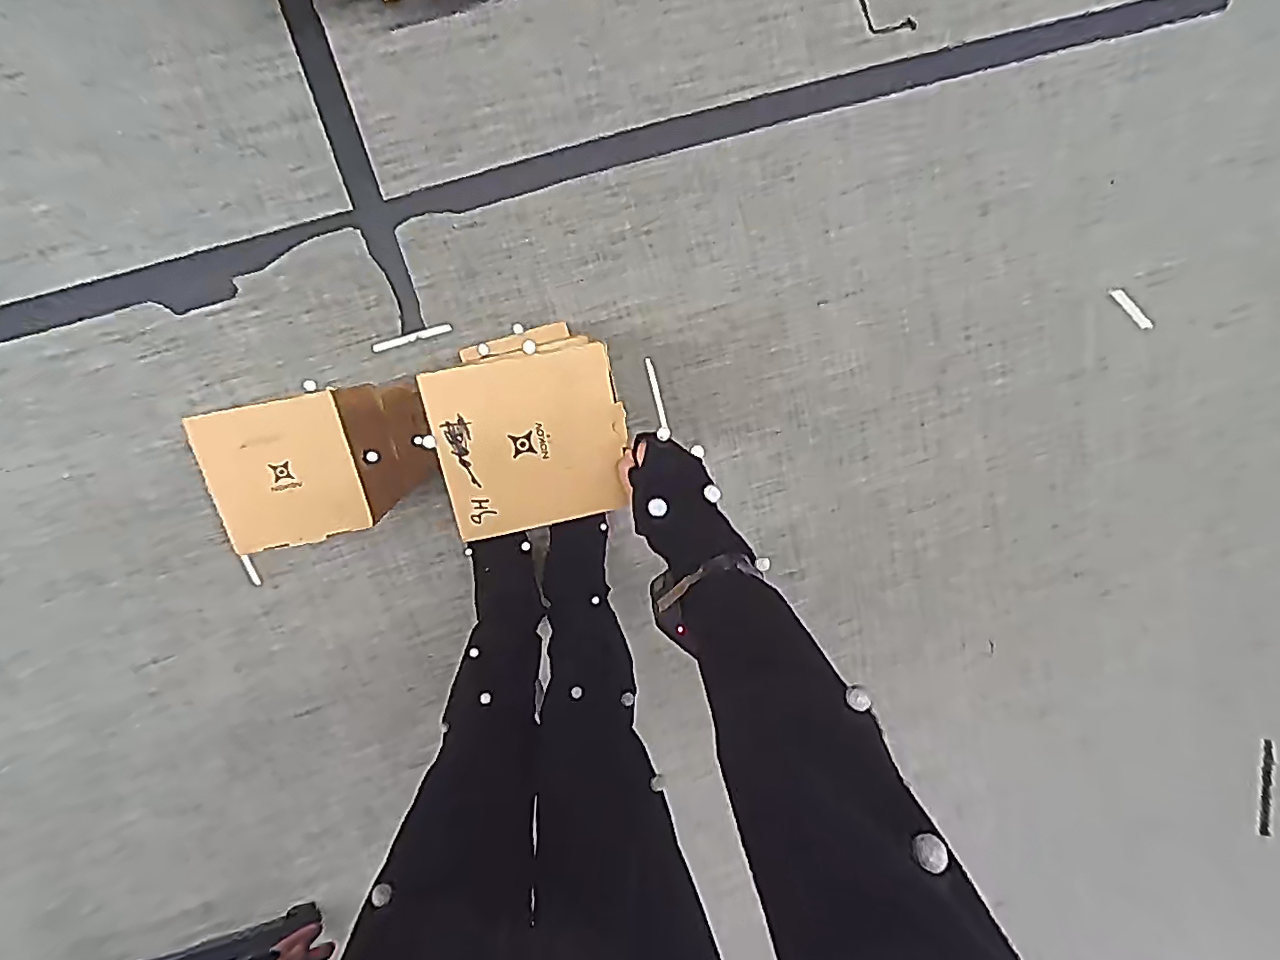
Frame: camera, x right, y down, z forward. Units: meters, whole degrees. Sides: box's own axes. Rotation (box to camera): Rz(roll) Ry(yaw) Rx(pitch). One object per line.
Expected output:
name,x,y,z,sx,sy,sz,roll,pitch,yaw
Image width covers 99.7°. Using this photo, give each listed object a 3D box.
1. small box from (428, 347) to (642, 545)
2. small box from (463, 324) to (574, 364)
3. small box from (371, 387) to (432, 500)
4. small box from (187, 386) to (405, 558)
small box,-0.109,-0.050,0.587,0.179,0.176,0.168,-12,105,-8
small box,-0.173,-0.150,0.896,0.168,0.176,0.179,-17,106,-5
small box,-0.460,-0.052,0.875,0.179,0.176,0.168,-11,106,-6
small box,-0.432,-0.021,0.718,0.168,0.176,0.179,-13,104,-8
